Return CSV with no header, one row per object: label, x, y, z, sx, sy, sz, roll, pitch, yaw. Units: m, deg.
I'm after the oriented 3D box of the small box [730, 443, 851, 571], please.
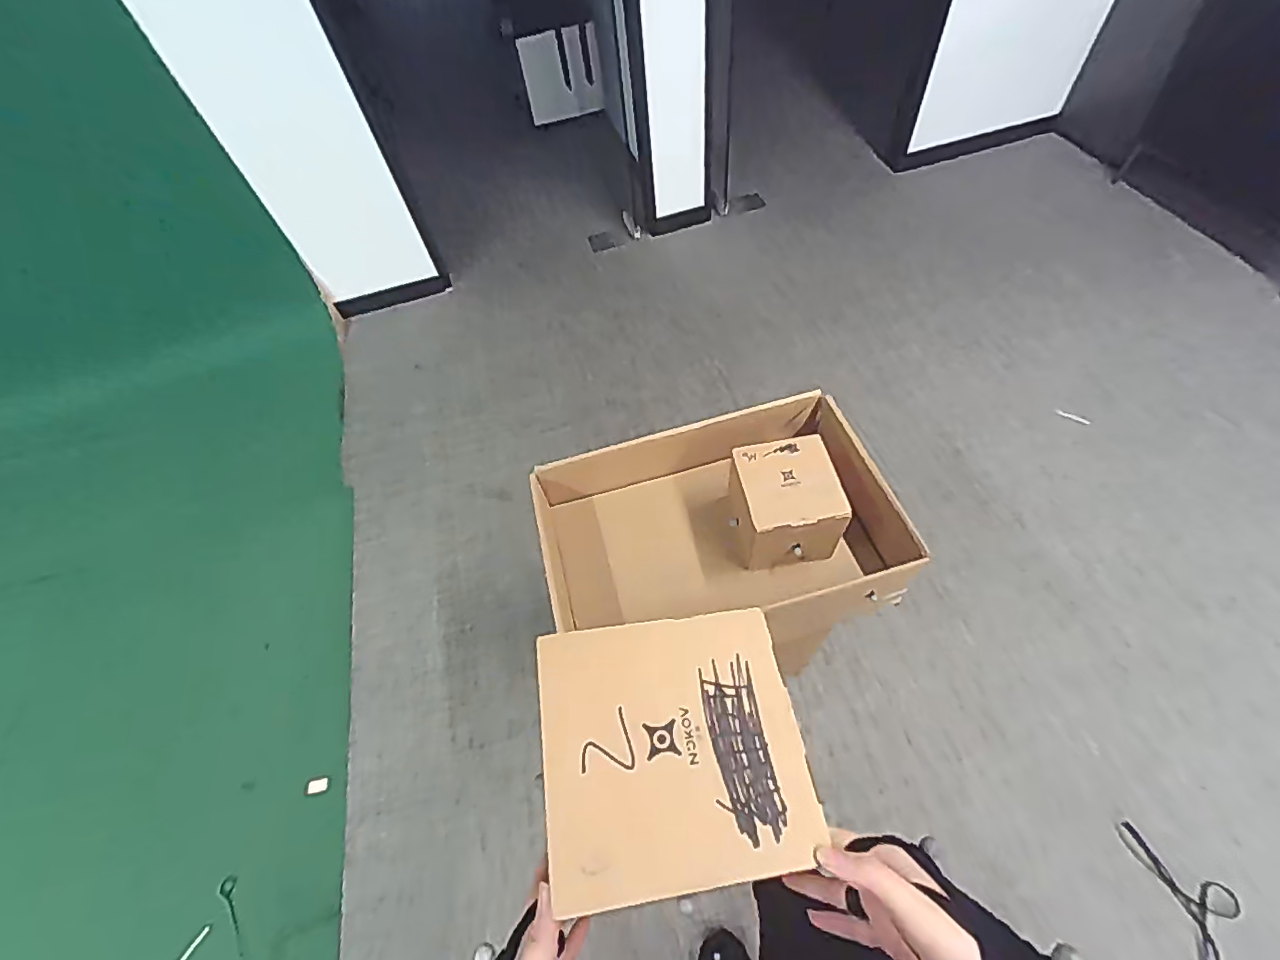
small box,0.267,0.059,1.006,0.168,0.176,0.179,-9,57,-1
